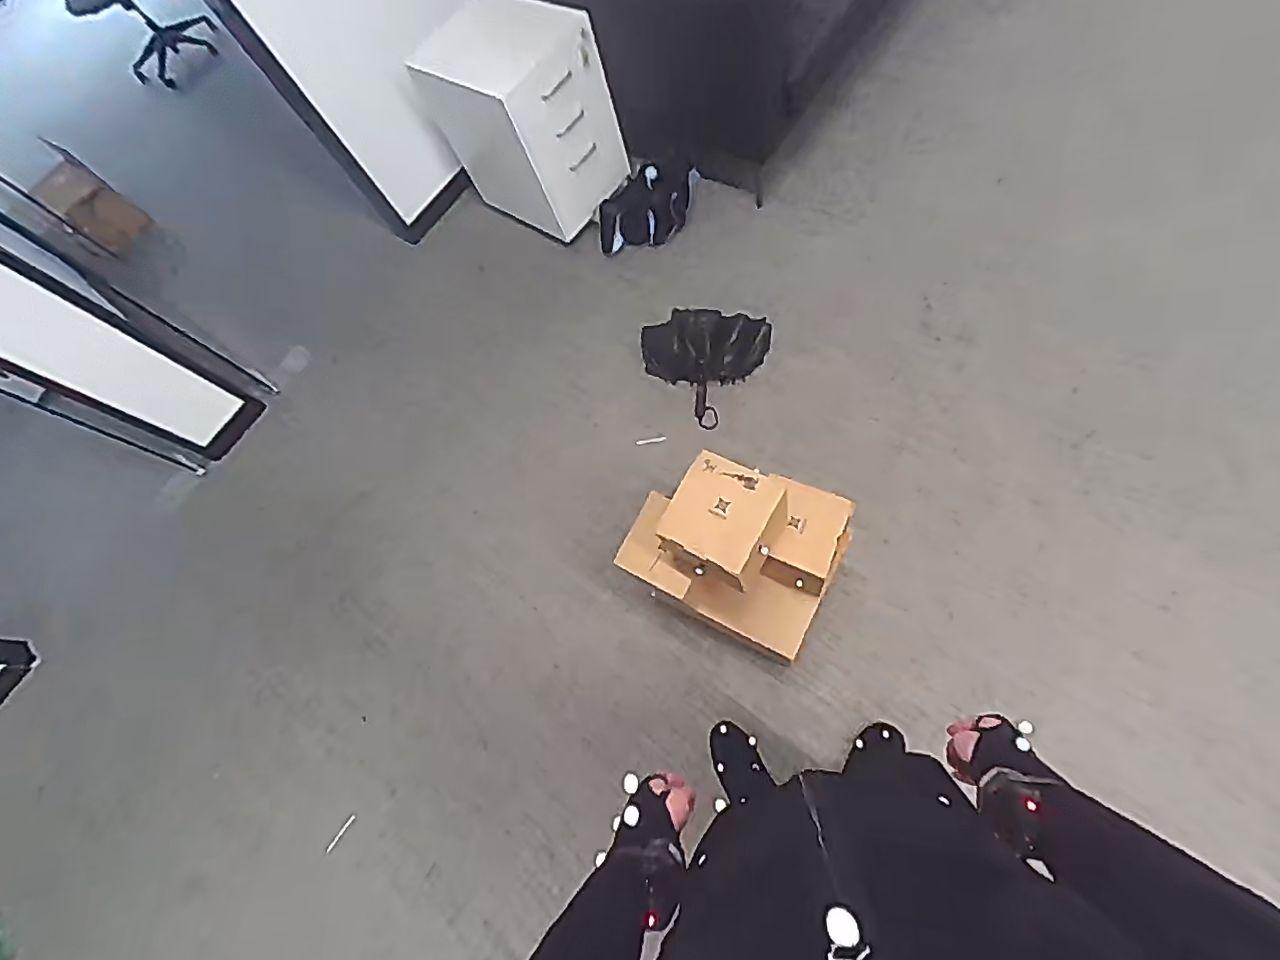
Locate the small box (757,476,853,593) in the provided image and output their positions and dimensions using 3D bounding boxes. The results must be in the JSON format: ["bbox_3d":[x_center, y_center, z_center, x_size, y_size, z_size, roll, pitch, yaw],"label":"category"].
[{"bbox_3d":[0.318,0.119,1.117,0.179,0.176,0.168,21,72,23],"label":"small box"}]

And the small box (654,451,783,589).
[{"bbox_3d":[0.154,0.080,0.990,0.168,0.176,0.179,27,79,24],"label":"small box"}]

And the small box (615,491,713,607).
[{"bbox_3d":[0.075,0.154,1.166,0.168,0.176,0.179,26,79,23],"label":"small box"}]
